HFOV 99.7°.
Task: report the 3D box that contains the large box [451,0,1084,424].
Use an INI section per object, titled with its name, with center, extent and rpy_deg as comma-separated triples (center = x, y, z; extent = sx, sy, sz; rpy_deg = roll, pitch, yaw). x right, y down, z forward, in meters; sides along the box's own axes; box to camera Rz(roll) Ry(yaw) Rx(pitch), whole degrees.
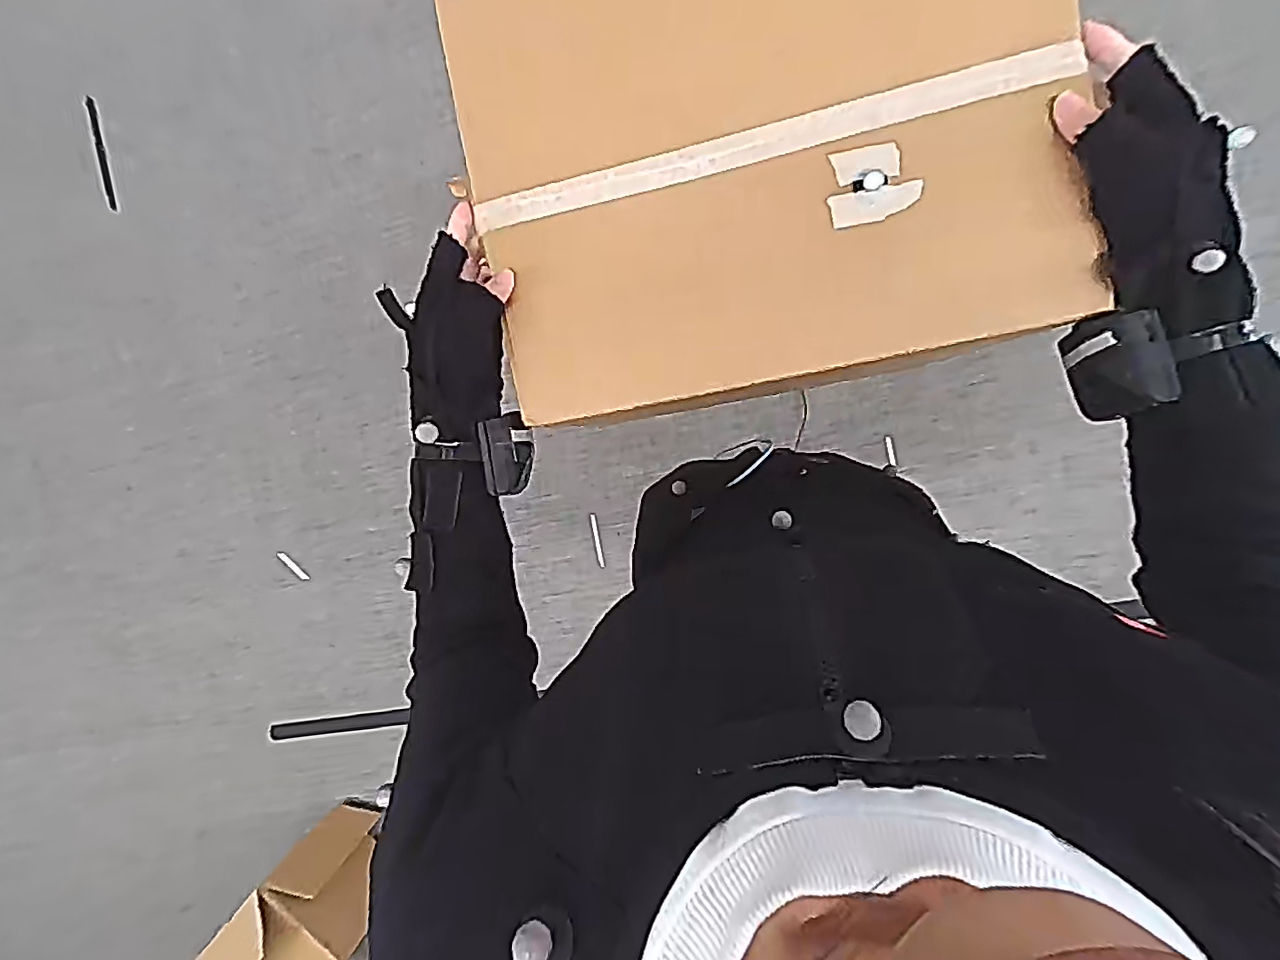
[large box]
center = 0.096, -0.245, 0.529
extent = 0.408, 0.320, 0.320
rpy_deg = -11, 95, 7
